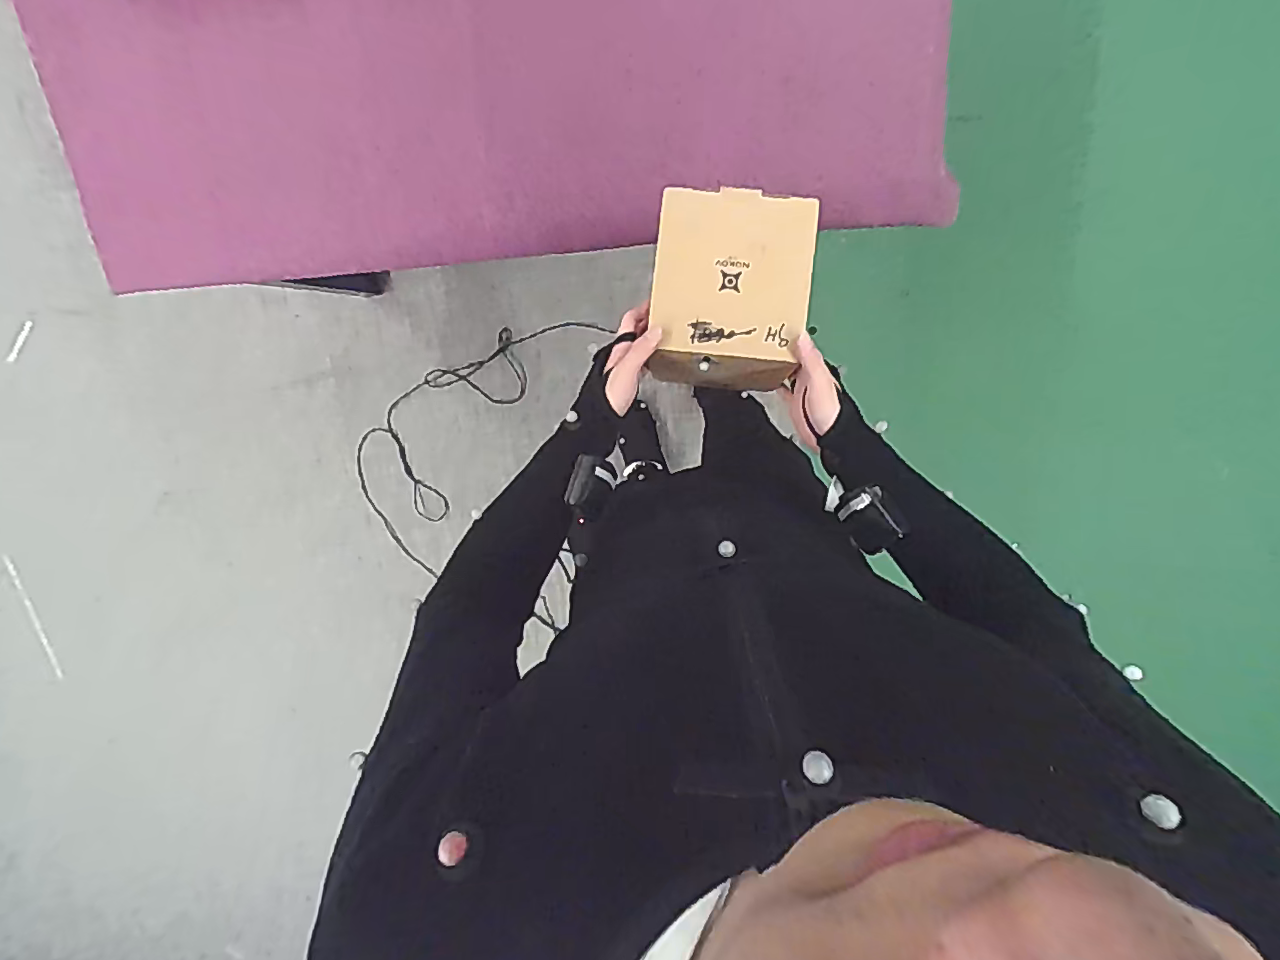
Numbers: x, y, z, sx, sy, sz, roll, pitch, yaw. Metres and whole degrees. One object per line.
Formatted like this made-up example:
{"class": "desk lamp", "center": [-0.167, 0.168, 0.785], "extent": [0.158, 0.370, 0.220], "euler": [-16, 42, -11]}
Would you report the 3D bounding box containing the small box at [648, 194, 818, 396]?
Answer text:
{"class": "small box", "center": [0.101, -0.209, 0.652], "extent": [0.168, 0.176, 0.179], "euler": [6, 89, 3]}
